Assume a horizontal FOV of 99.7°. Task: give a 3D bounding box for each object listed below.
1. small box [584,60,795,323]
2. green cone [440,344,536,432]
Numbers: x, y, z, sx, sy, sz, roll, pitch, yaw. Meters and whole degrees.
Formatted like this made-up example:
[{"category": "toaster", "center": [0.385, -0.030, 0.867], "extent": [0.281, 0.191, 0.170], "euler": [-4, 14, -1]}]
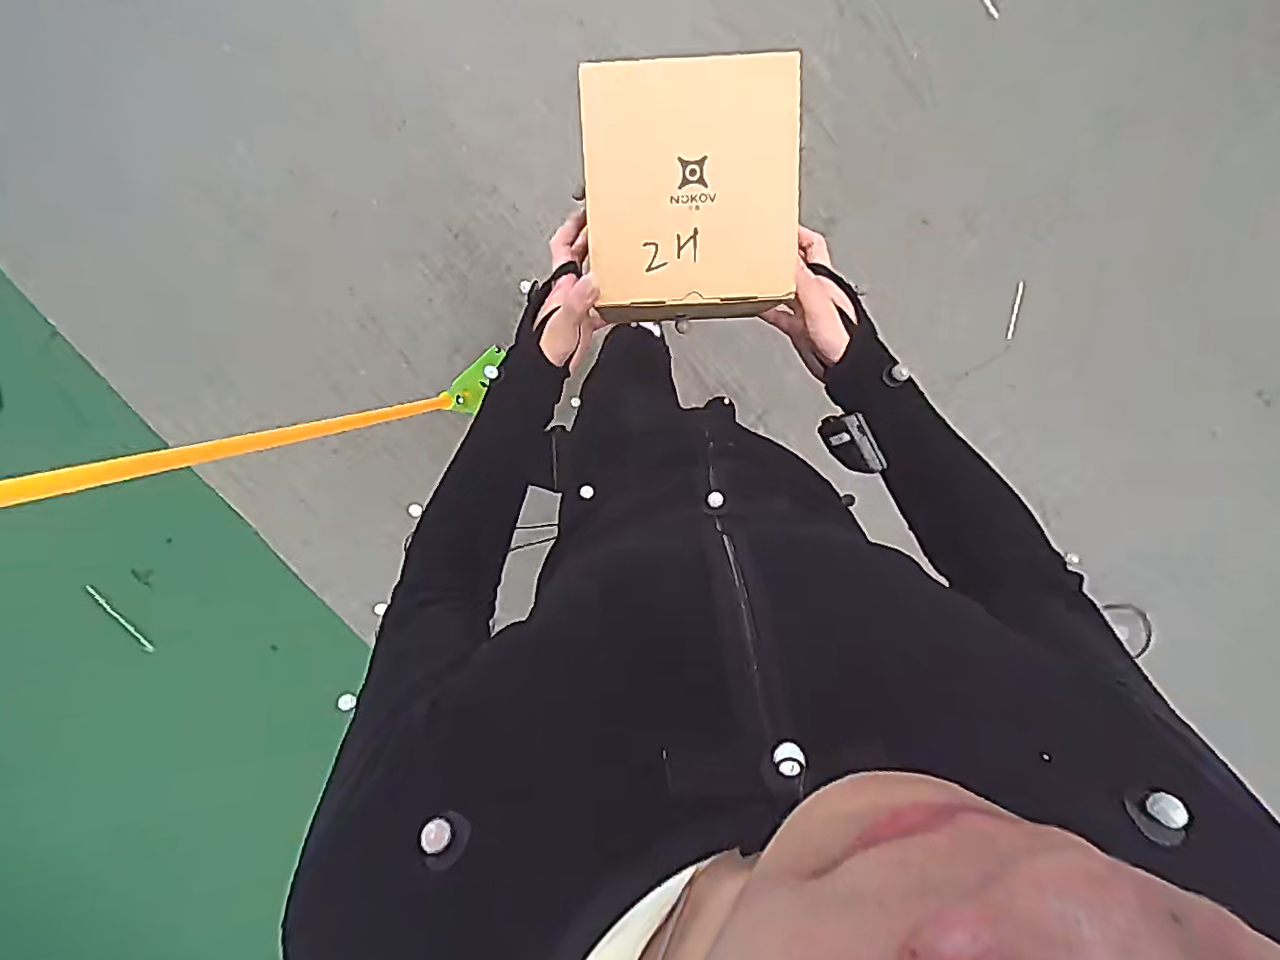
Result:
[{"category": "small box", "center": [0.040, -0.247, 0.505], "extent": [0.168, 0.176, 0.179], "euler": [-2, 102, 2]}, {"category": "green cone", "center": [-0.446, -0.227, 1.437], "extent": [0.200, 0.368, 0.202], "euler": [-38, 99, 12]}]
